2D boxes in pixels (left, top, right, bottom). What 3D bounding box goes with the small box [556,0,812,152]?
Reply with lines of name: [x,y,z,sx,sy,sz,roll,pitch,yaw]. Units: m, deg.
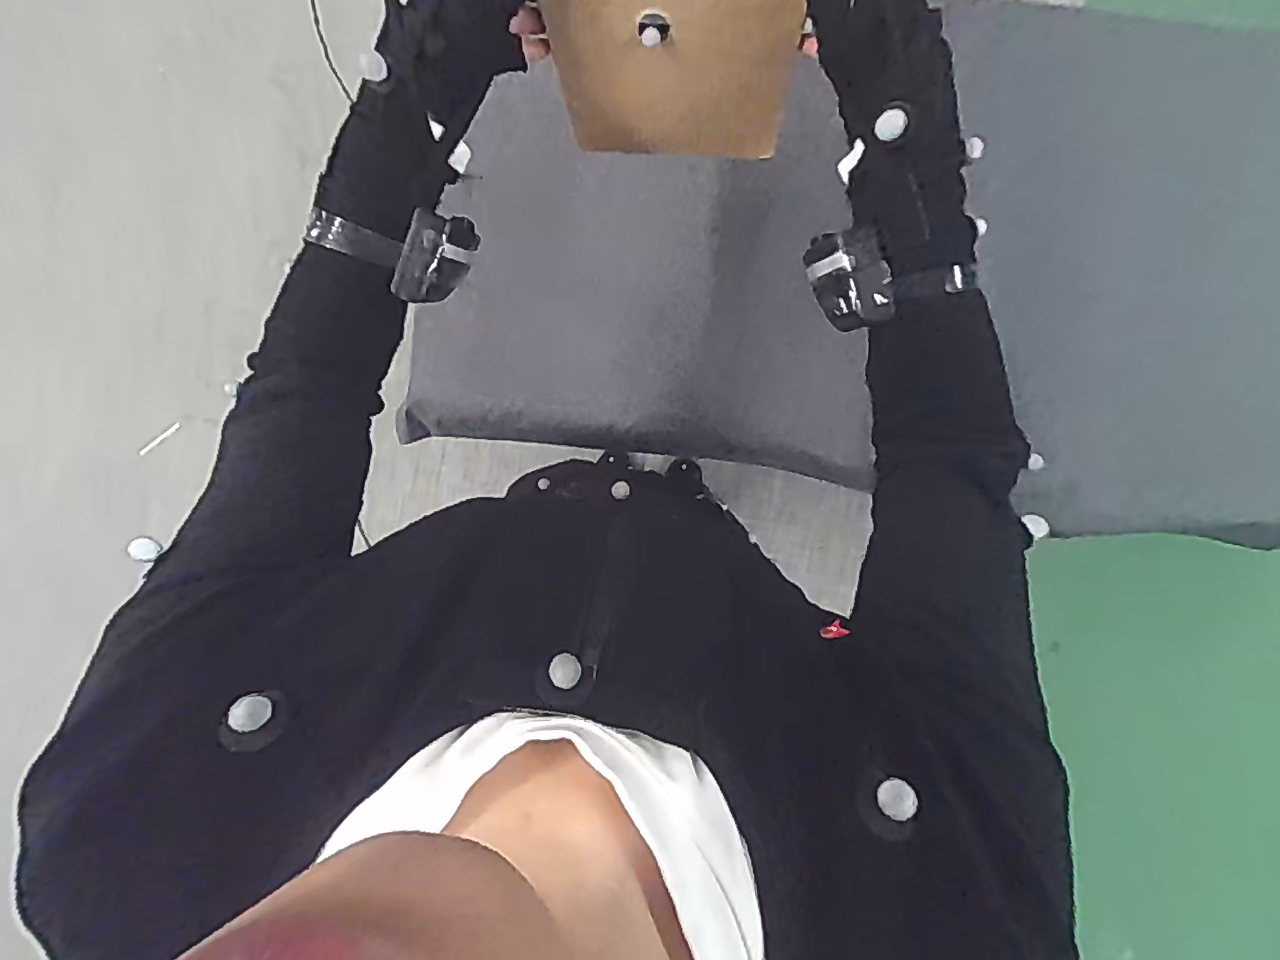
small box: [0.036,-0.376,0.402,0.179,0.176,0.168,5,85,5]
